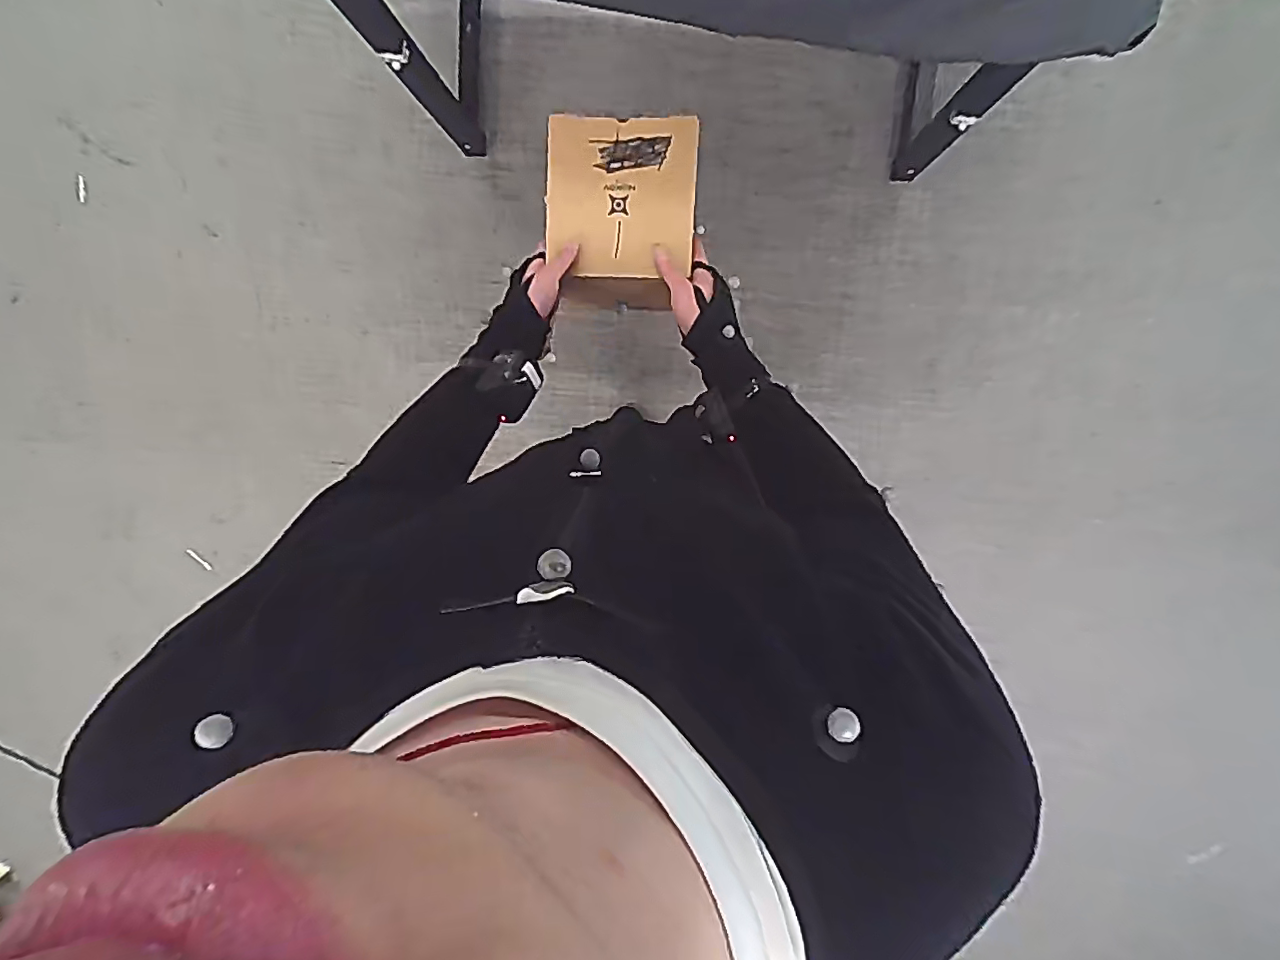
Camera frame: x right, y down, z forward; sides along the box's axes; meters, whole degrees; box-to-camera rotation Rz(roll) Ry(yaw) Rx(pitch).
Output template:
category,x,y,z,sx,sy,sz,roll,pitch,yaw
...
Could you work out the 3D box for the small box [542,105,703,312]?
category,x,y,z,sx,sy,sz,roll,pitch,yaw
small box,-0.017,-0.321,0.671,0.168,0.176,0.179,5,96,3
